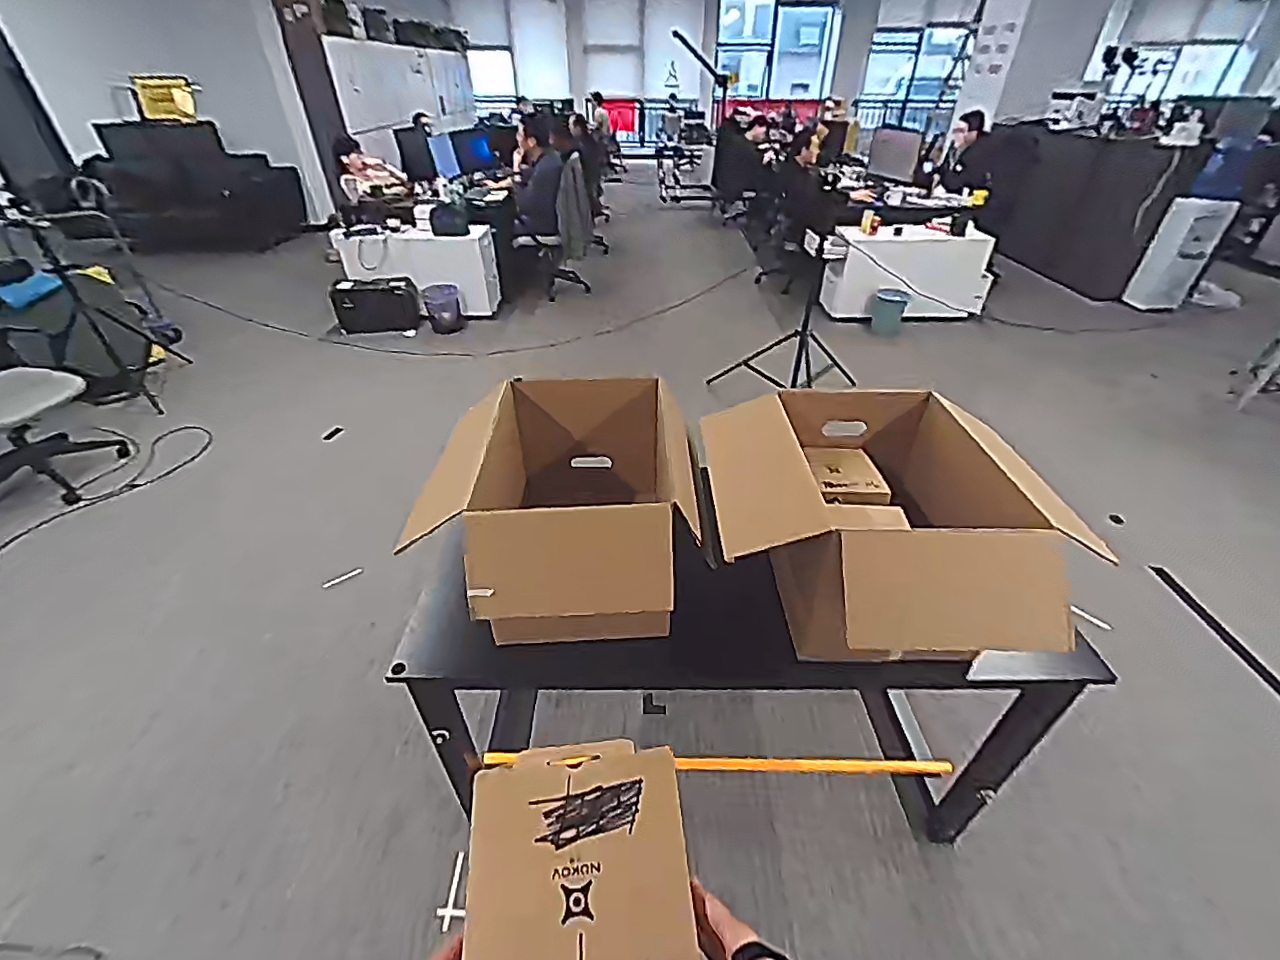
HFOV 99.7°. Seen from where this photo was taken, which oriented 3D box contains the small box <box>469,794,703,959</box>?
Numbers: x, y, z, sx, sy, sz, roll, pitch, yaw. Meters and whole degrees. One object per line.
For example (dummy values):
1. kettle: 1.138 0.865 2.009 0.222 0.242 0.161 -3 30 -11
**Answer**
1. small box: -0.038 0.382 0.444 0.168 0.176 0.179 -6 50 -3
